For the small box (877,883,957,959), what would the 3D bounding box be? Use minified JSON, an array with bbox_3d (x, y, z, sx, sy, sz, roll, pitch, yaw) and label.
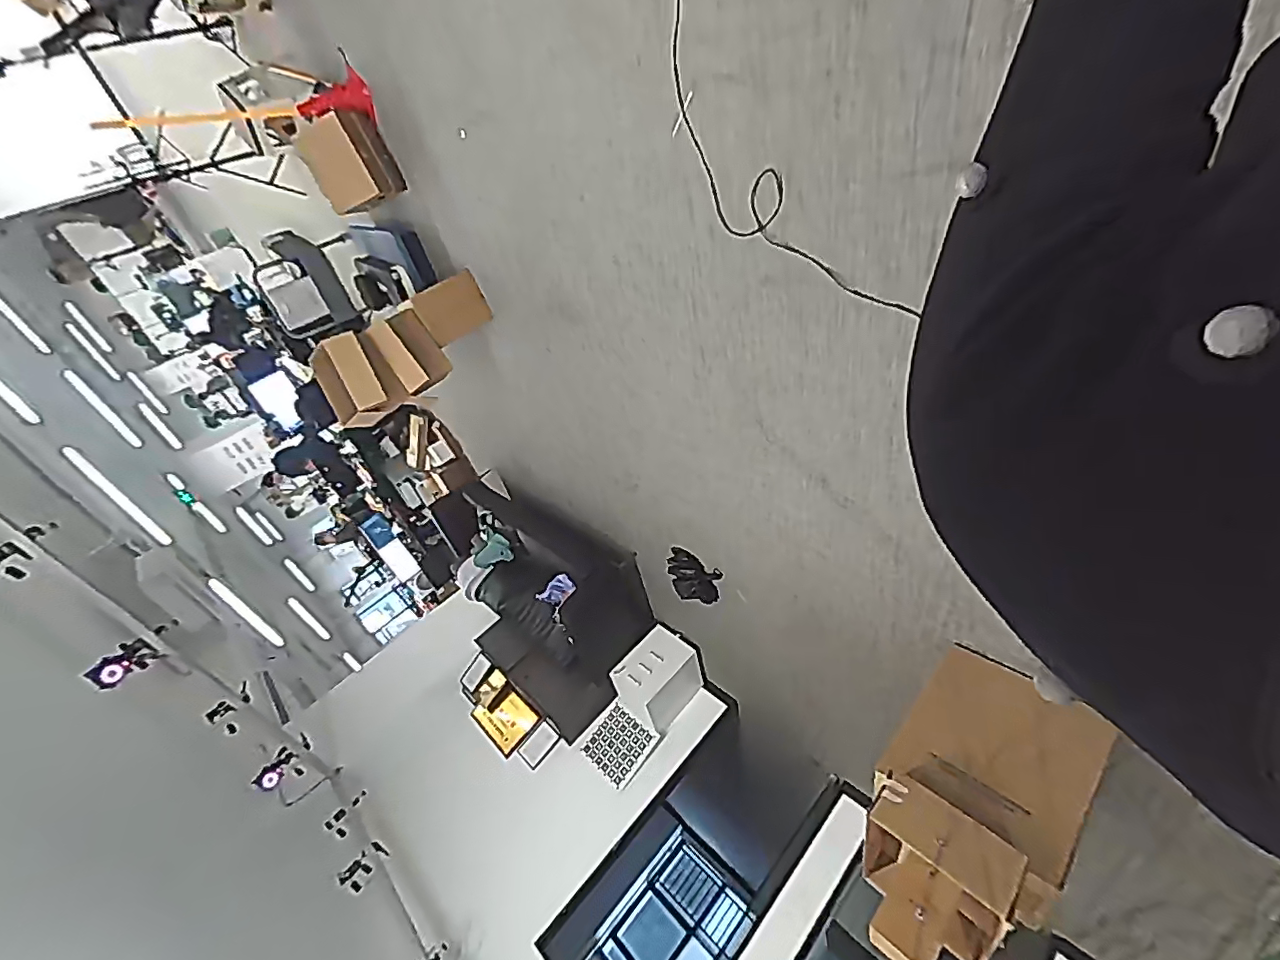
[{"bbox_3d":[0.840,1.384,1.640,0.168,0.176,0.179,21,141,43],"label":"small box"}]
